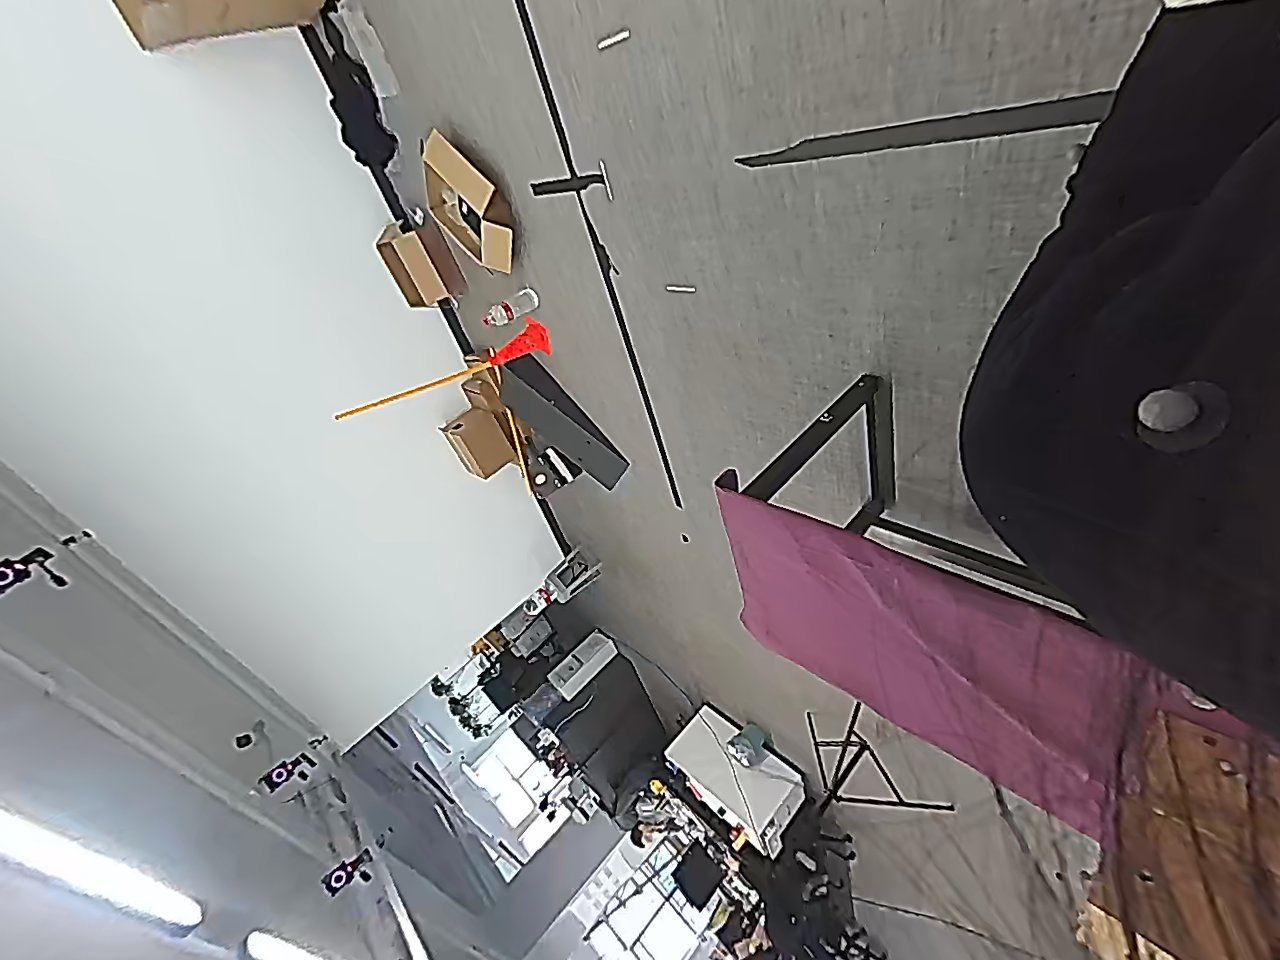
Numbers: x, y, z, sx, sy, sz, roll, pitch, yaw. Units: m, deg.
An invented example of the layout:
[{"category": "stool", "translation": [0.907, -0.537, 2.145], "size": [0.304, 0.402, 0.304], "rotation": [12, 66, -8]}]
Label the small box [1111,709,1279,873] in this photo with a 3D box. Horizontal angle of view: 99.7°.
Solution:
[{"category": "small box", "translation": [0.838, 0.490, 0.815], "size": [0.168, 0.176, 0.179], "rotation": [20, 141, 45]}]

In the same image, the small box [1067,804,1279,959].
[{"category": "small box", "translation": [0.728, 0.585, 0.743], "size": [0.179, 0.176, 0.168], "rotation": [18, 141, 46]}]
